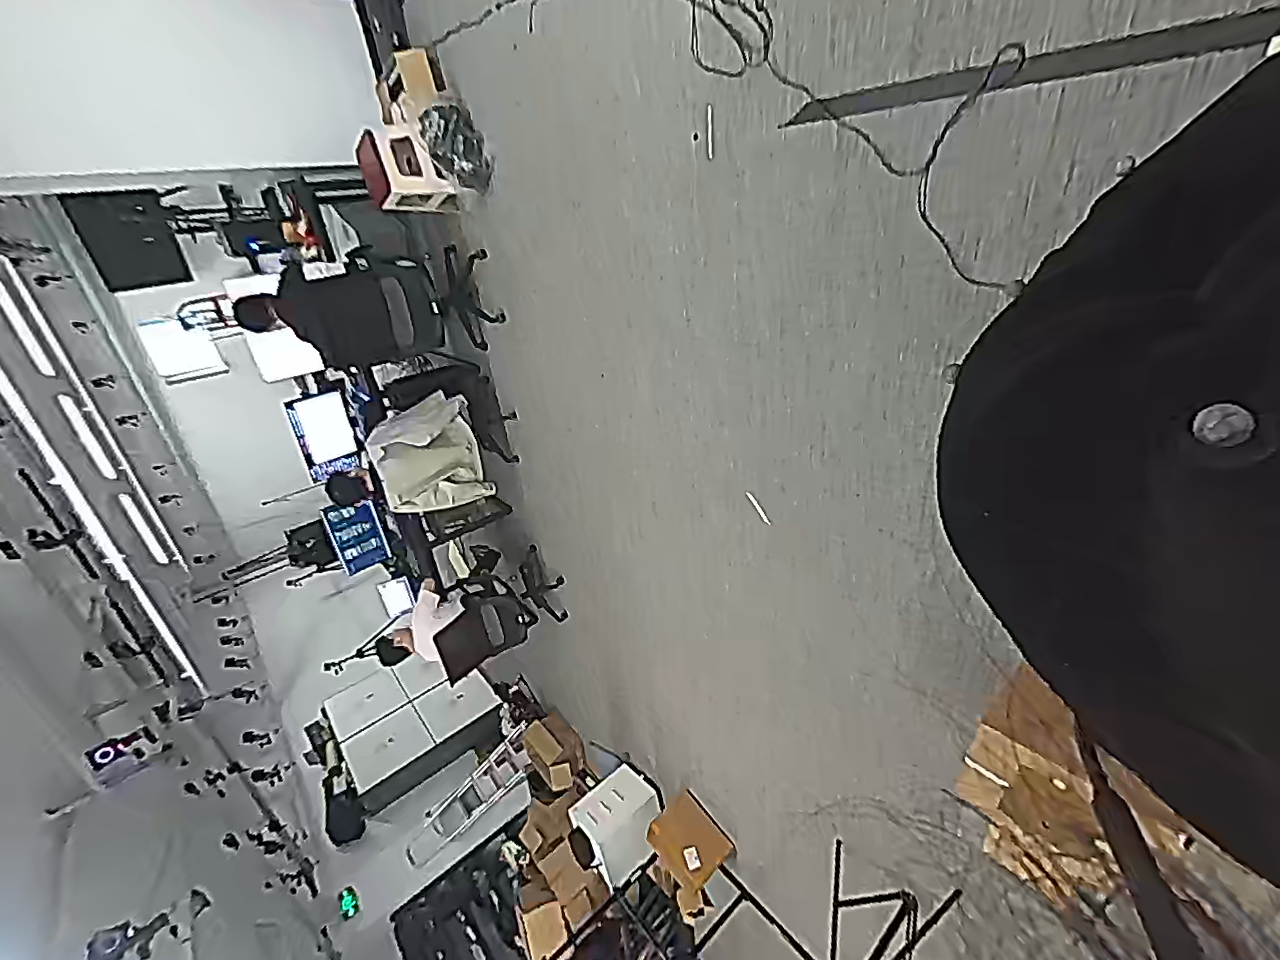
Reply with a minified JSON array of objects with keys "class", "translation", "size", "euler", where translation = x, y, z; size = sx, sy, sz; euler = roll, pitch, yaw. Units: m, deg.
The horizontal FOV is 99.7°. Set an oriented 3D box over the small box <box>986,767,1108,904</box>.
[{"class":"small box","translation":[0.962,0.828,1.279],"size":[0.179,0.176,0.168],"euler":[24,128,46]}]
